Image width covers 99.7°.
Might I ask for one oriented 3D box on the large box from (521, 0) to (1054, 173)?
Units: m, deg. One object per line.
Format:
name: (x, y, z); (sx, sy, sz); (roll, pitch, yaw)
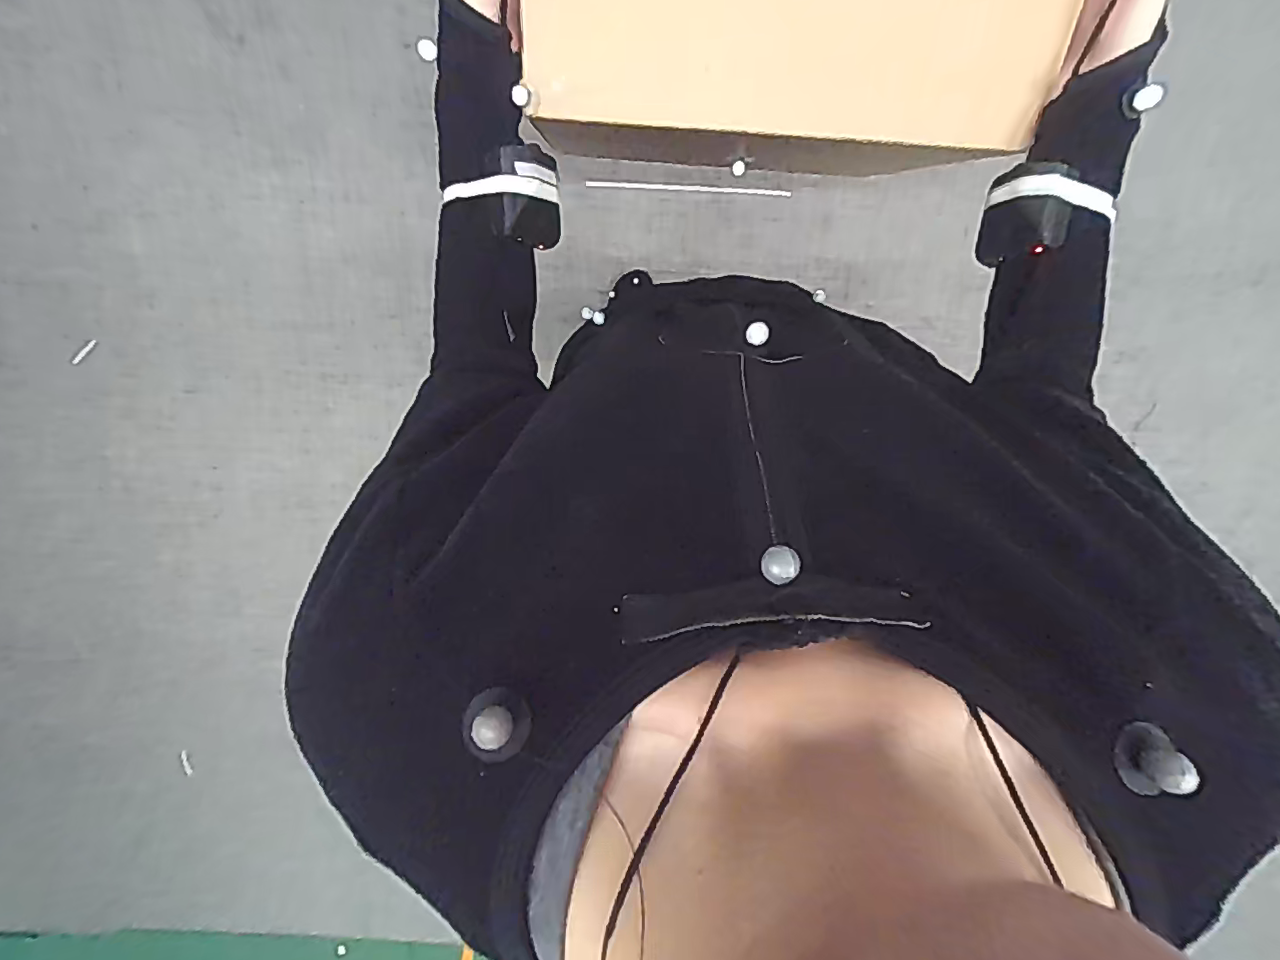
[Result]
large box: (0.110, -0.475, 0.504); (0.408, 0.320, 0.320); (1, 114, -3)
